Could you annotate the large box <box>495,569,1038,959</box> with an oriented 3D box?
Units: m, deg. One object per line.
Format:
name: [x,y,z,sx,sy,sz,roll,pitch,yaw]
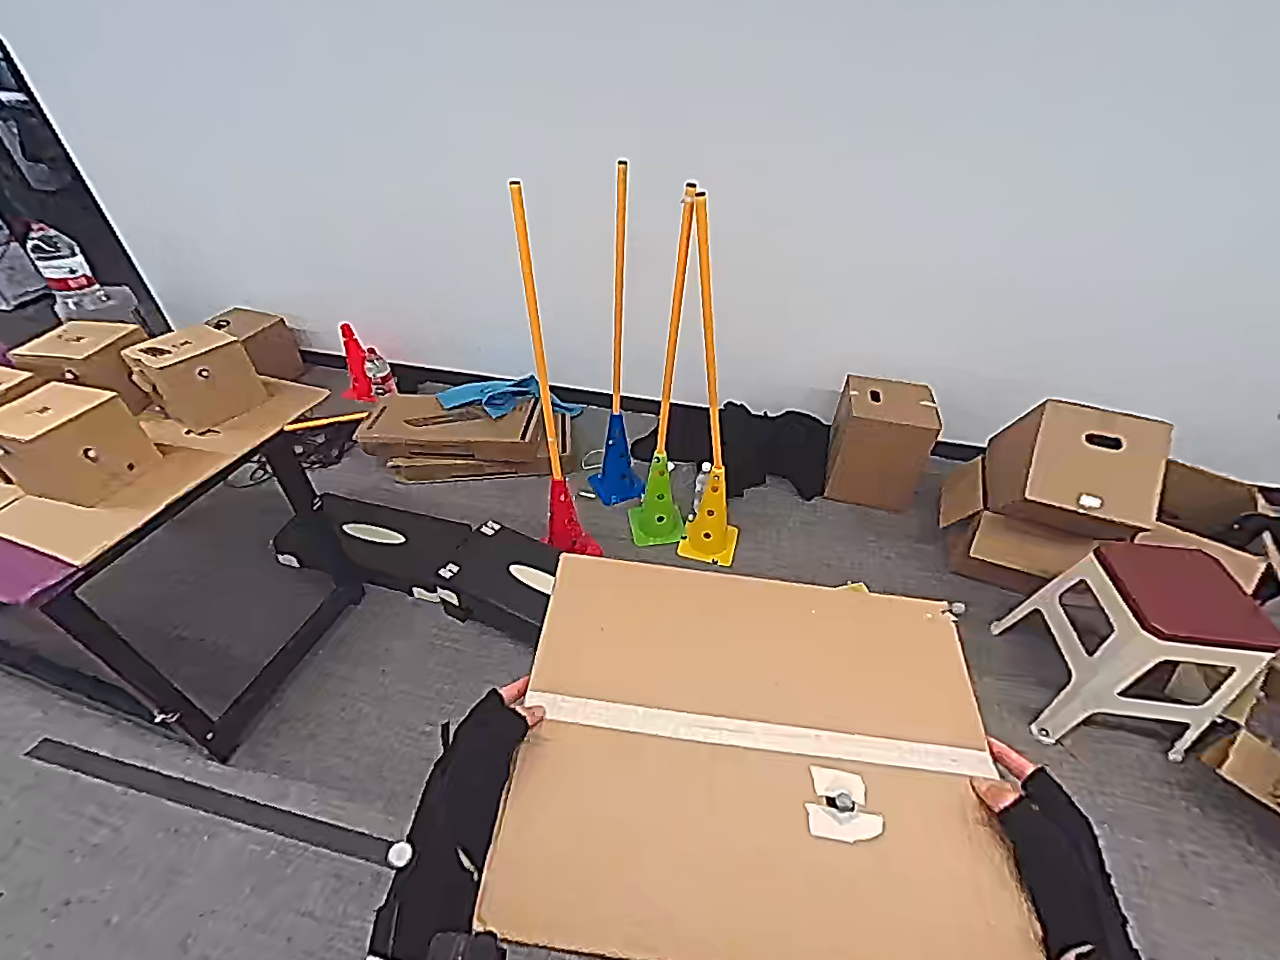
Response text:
large box: [0.095,0.327,0.592,0.408,0.320,0.320,7,51,2]
